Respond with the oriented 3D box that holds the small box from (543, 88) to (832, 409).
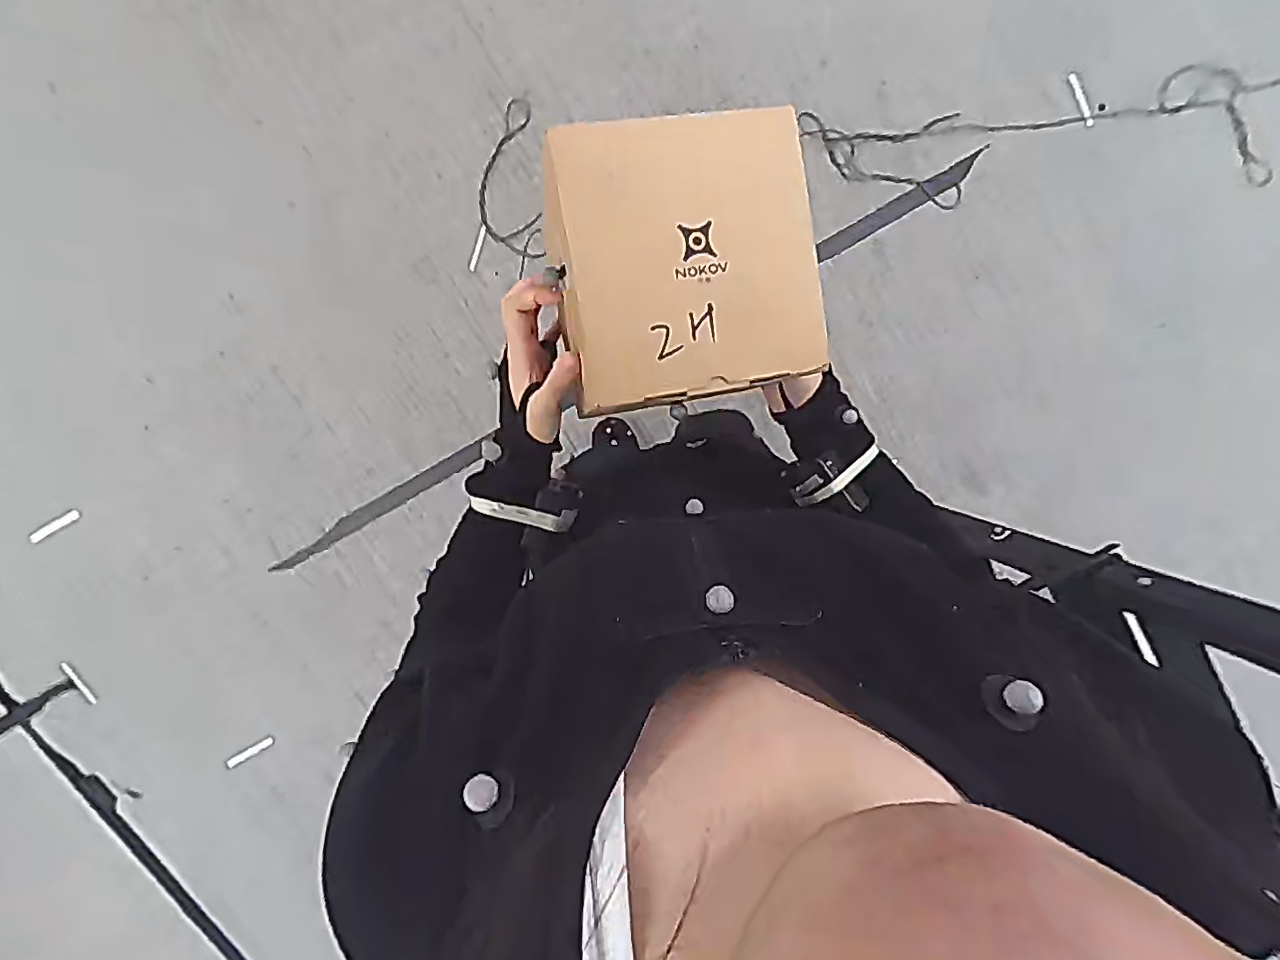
[{"bbox_3d":[0.021,-0.157,0.418,0.168,0.176,0.179,-11,96,-10],"label":"small box"}]
